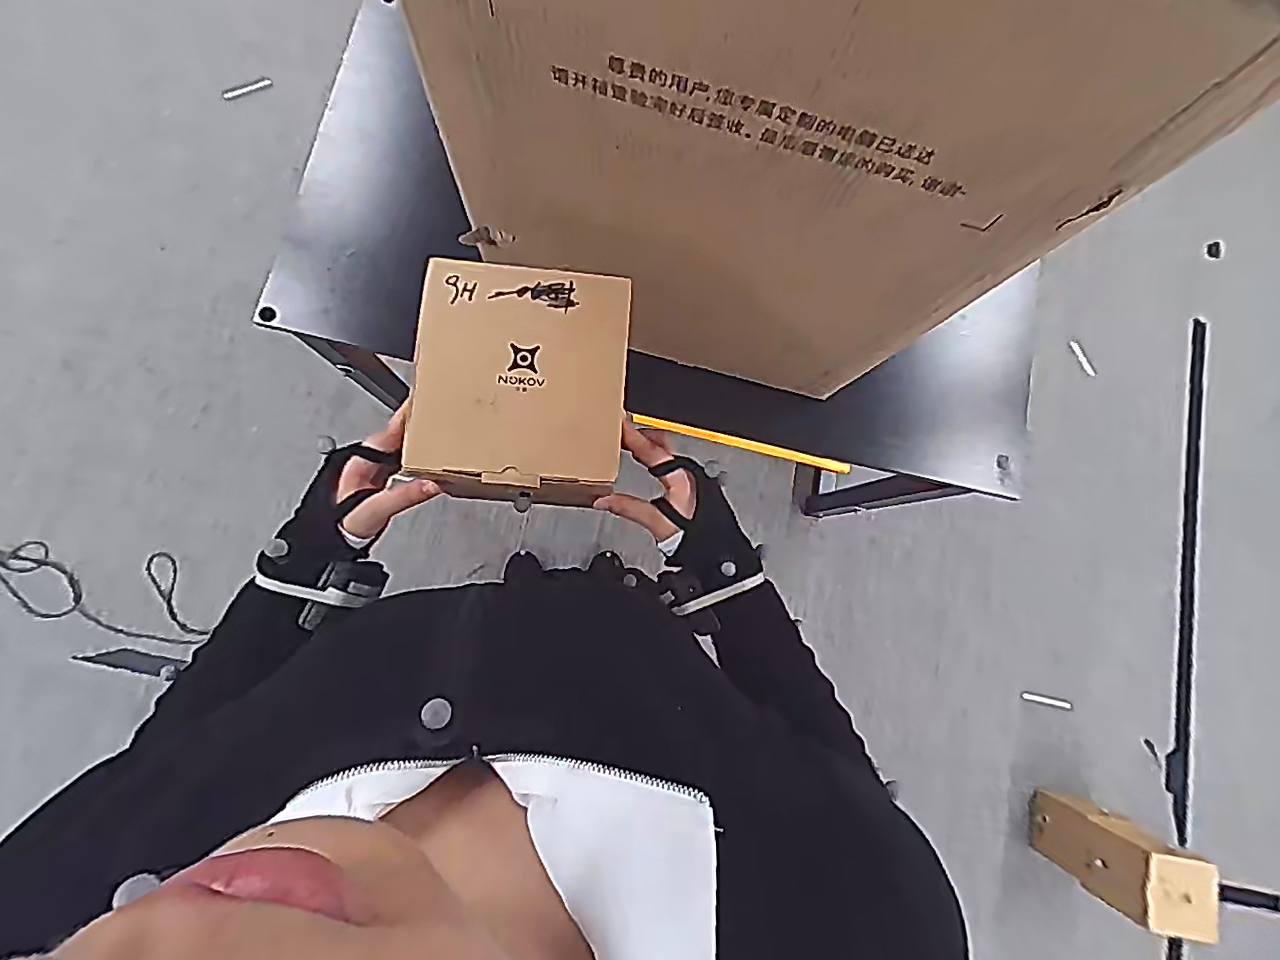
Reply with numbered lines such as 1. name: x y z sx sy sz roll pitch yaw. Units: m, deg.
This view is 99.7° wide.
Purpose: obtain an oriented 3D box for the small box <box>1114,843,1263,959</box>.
1. small box: 1.244 0.965 1.233 0.179 0.176 0.168 12 80 -5

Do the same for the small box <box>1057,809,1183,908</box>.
1. small box: 1.236 0.982 1.398 0.179 0.176 0.168 12 81 -3
